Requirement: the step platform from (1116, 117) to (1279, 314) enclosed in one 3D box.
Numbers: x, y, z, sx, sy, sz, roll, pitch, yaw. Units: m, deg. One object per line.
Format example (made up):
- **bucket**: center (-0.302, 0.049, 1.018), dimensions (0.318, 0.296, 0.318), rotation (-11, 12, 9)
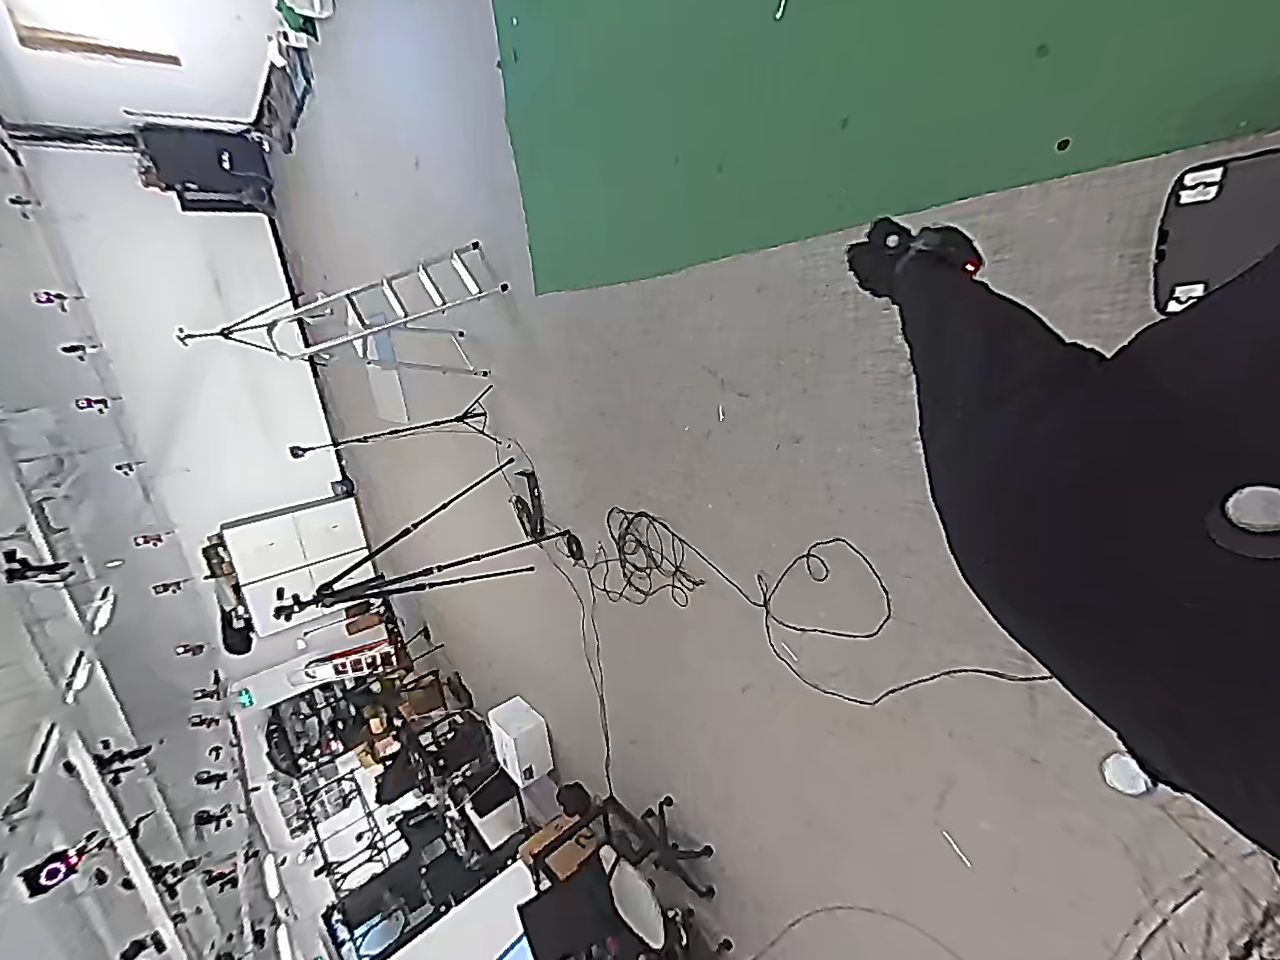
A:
- **step platform**: center (1.130, -0.417, 0.748), dimensions (0.684, 0.204, 0.286), rotation (11, 115, 50)
